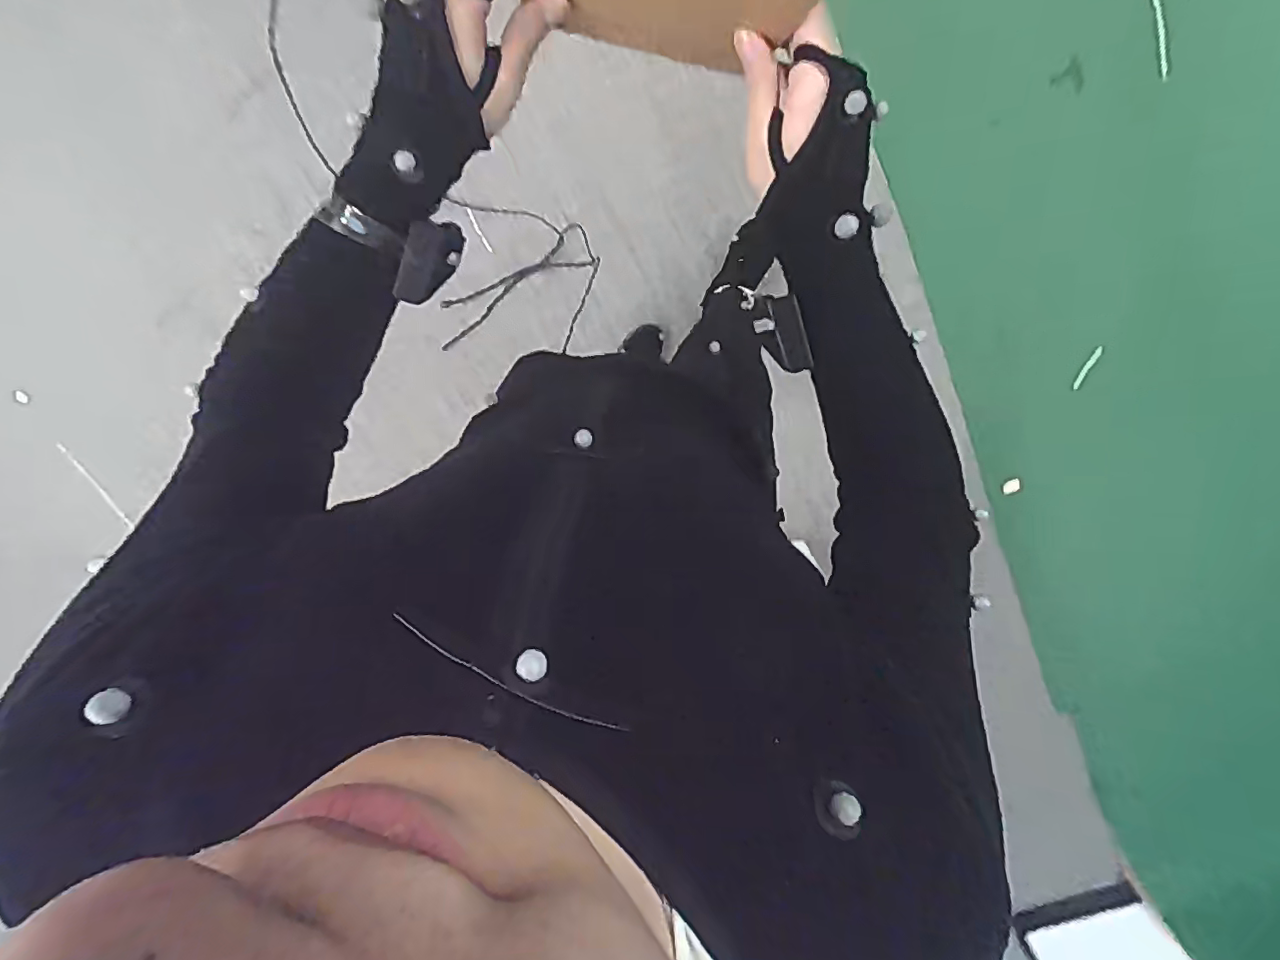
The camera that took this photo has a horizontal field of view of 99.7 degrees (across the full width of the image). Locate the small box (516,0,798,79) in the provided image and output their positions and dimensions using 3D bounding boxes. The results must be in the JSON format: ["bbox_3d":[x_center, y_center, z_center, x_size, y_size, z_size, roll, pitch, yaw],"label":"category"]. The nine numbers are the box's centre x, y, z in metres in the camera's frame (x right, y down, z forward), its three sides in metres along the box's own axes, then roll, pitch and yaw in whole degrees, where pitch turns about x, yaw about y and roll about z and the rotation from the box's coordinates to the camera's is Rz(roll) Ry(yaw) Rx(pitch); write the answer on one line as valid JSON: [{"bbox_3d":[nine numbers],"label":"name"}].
[{"bbox_3d":[0.020,-0.362,0.300,0.179,0.176,0.168,4,105,-13],"label":"small box"}]
